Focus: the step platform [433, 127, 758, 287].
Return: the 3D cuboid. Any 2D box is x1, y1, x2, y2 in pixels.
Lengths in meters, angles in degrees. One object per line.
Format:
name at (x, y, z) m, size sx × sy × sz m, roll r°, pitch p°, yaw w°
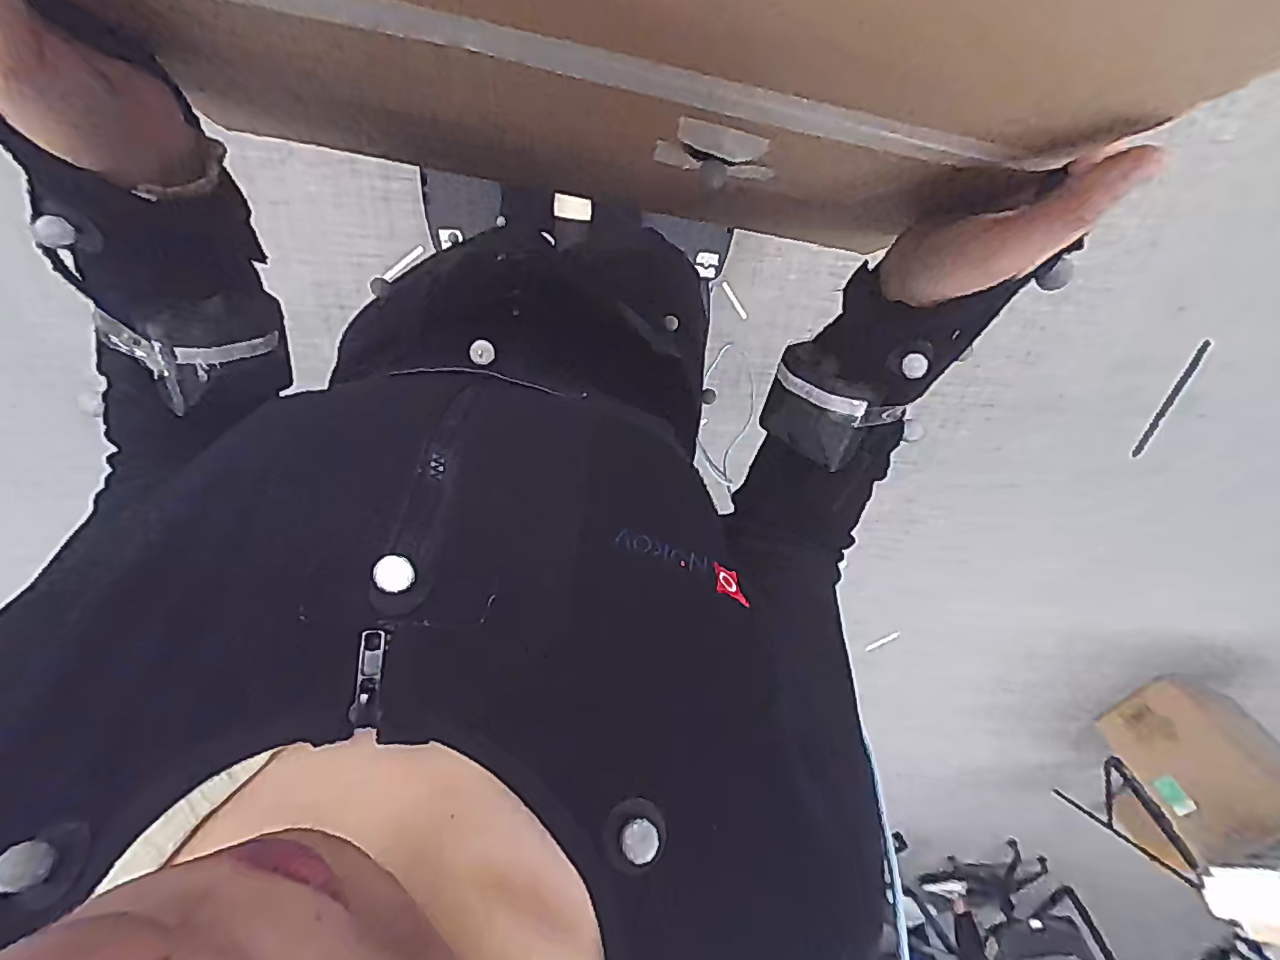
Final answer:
step platform at (-0.092, -0.636, 1.192) m, size 0.684 × 0.204 × 0.286 m, roll 7°, pitch 123°, yaw -8°
